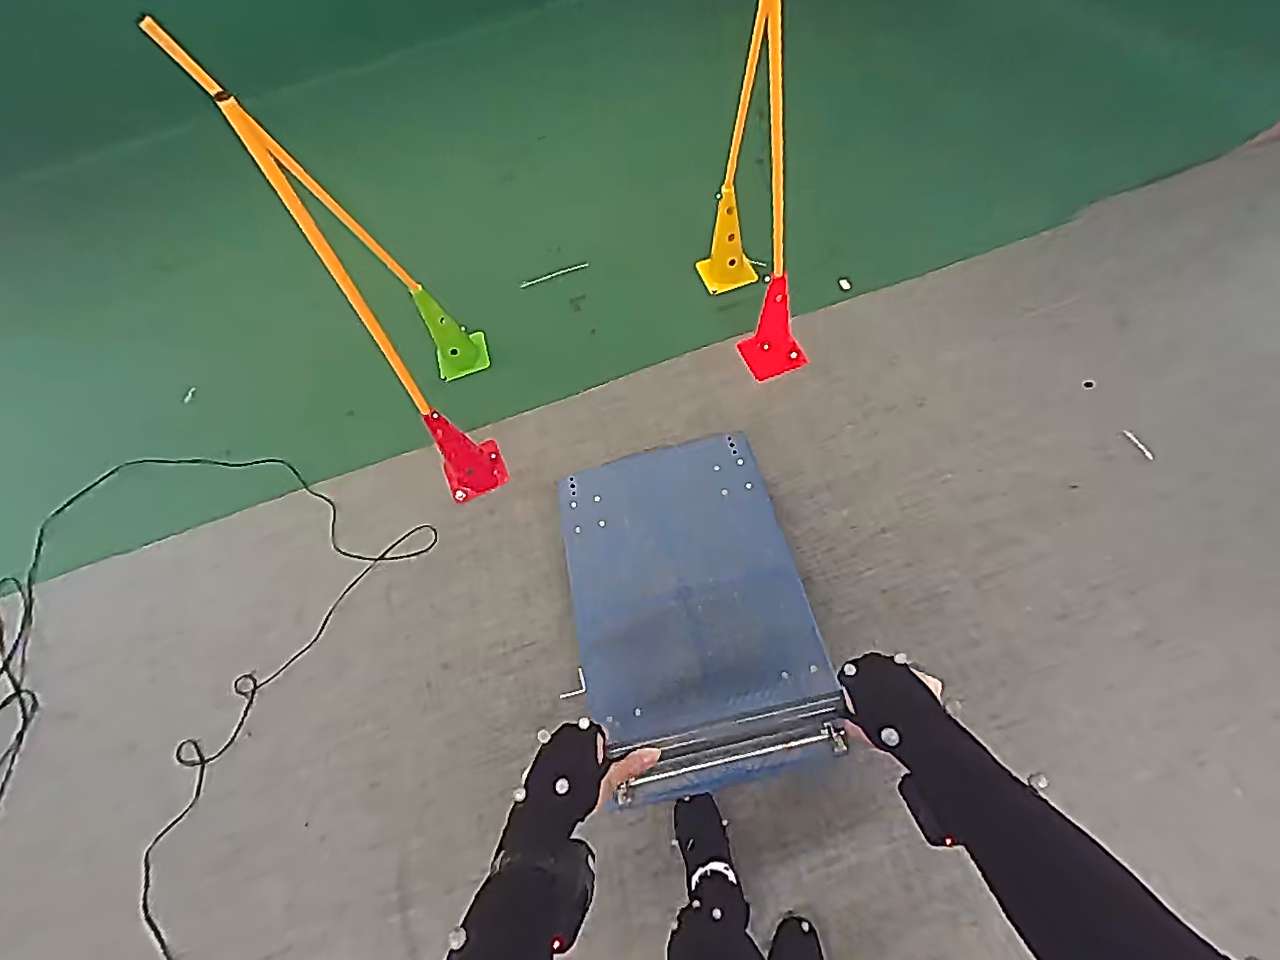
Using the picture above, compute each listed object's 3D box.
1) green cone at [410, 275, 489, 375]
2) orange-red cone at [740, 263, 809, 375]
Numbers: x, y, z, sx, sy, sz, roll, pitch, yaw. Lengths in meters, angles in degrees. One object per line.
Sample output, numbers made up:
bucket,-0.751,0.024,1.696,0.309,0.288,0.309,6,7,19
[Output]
green cone,-0.724,-0.591,1.974,0.200,0.368,0.202,-20,59,-1
orange-red cone,0.446,-0.547,1.758,0.198,0.360,0.199,-19,59,-2
